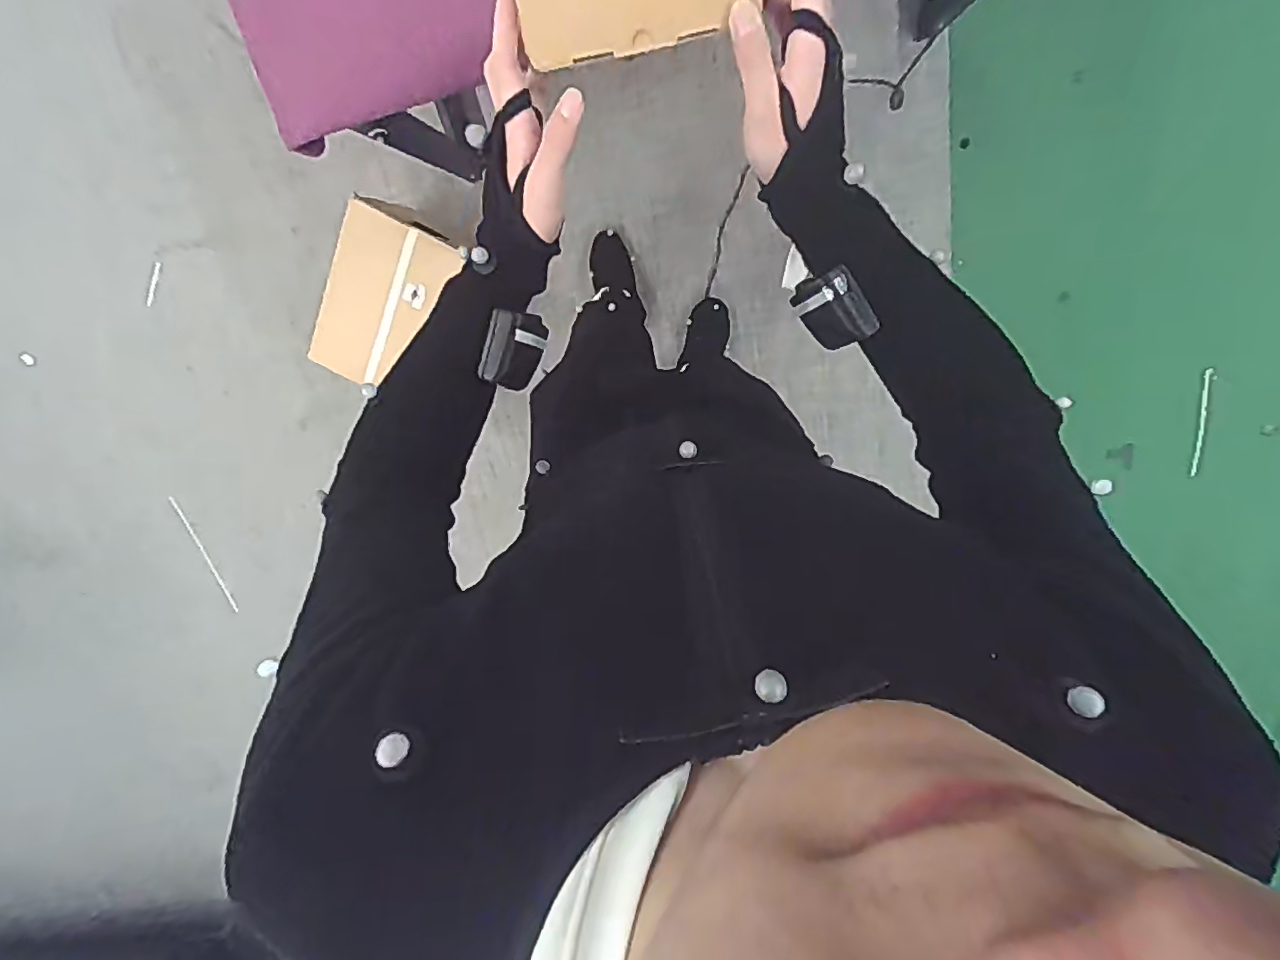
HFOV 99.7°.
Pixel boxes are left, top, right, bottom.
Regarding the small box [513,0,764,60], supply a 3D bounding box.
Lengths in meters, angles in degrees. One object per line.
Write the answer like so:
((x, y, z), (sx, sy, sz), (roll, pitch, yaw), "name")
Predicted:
((-0.013, -0.415, 0.364), (0.168, 0.176, 0.179), (-7, 135, 6), "small box")

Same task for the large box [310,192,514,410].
((-0.574, -0.450, 1.401), (0.320, 0.320, 0.408), (26, 110, -7), "large box")

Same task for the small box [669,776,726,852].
((0.212, 1.227, 1.994), (0.179, 0.176, 0.168), (-14, 108, 9), "small box")
